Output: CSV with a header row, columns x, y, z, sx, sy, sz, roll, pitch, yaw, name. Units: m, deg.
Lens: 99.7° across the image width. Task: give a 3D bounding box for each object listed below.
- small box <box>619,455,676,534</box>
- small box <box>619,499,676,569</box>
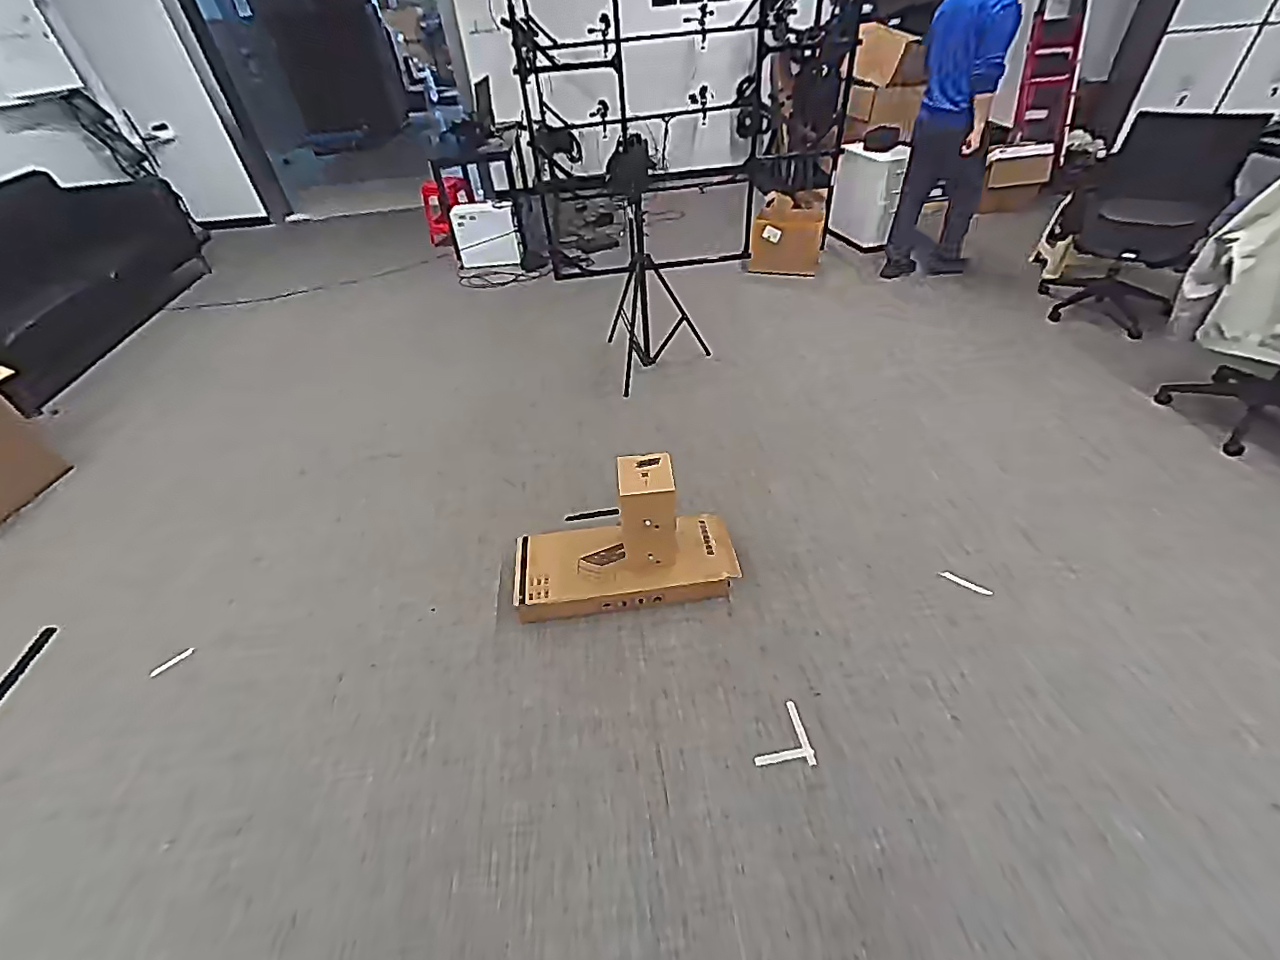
x,y,z,sx,sy,sz,roll,pitch,yaw,name
0.022,0.046,1.693,0.168,0.176,0.179,-6,42,0,small box
0.025,0.171,1.800,0.168,0.176,0.179,-8,41,-3,small box
